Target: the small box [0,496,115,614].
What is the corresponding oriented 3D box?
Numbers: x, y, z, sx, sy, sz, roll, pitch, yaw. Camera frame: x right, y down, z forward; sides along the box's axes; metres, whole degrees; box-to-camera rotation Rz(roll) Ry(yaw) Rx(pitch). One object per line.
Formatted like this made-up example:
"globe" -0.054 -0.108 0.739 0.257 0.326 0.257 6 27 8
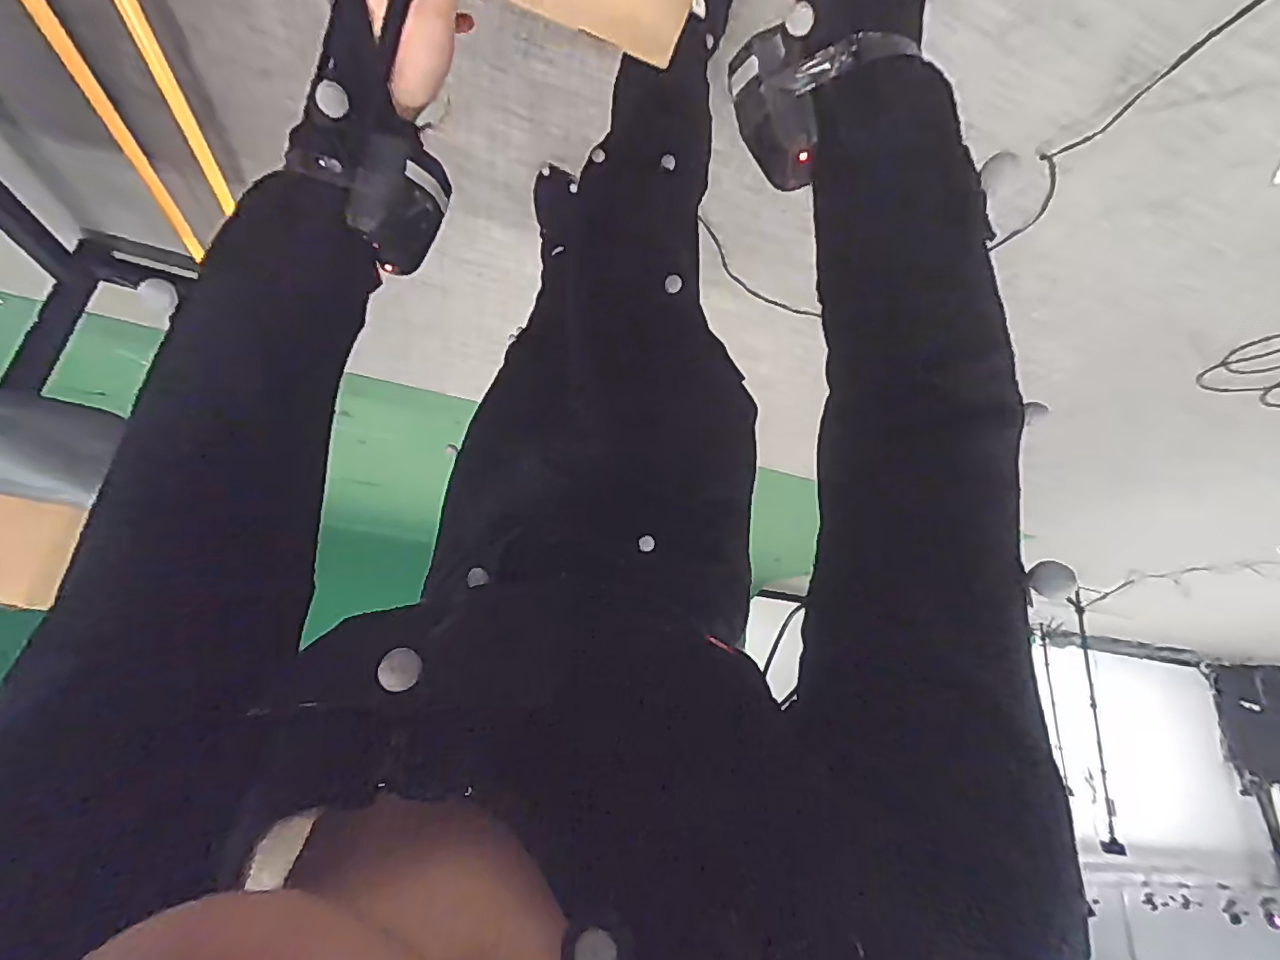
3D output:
"small box" -1.038 0.123 0.899 0.179 0.176 0.168 12 160 -12
